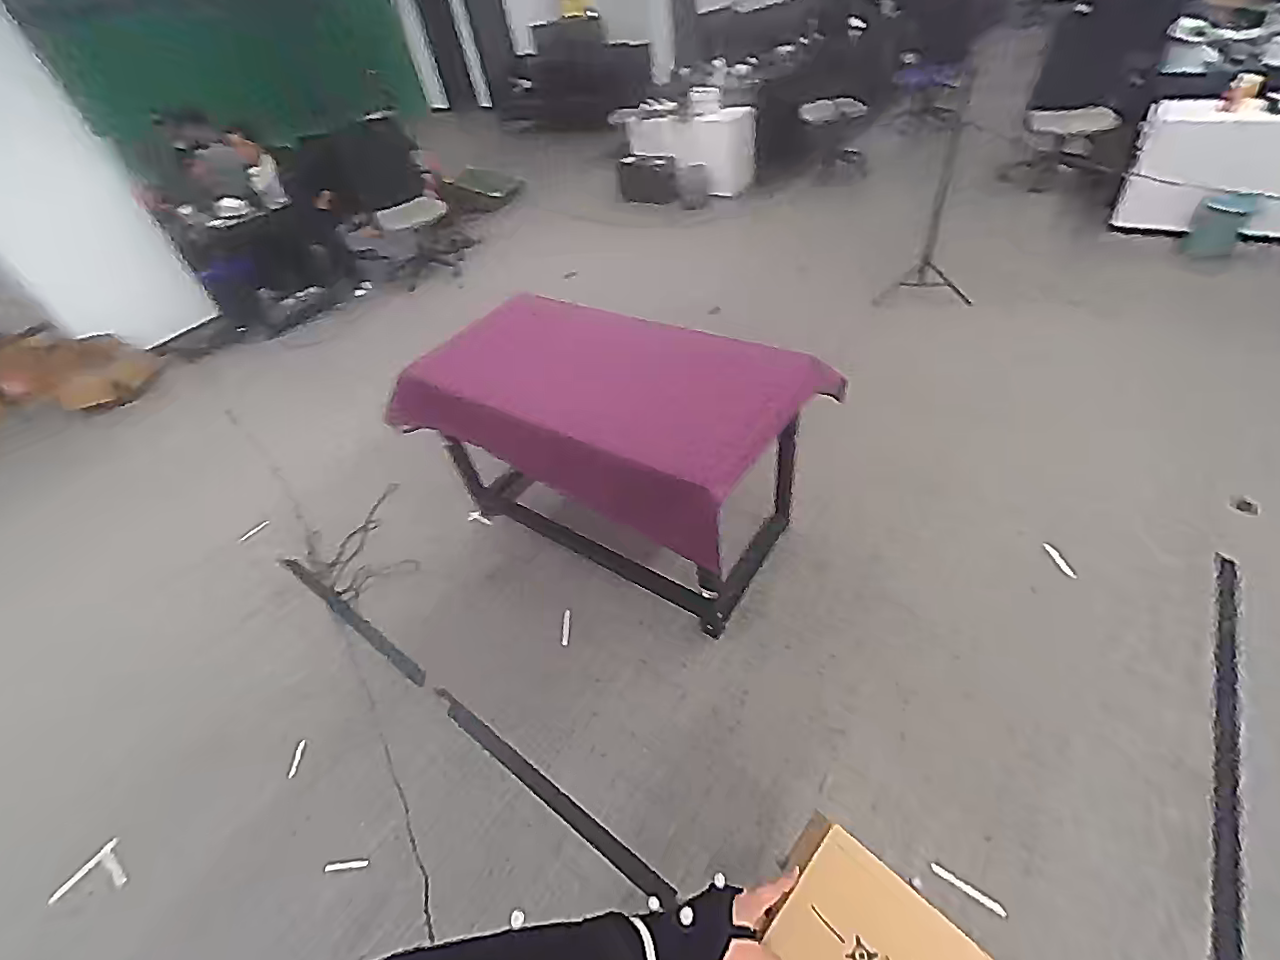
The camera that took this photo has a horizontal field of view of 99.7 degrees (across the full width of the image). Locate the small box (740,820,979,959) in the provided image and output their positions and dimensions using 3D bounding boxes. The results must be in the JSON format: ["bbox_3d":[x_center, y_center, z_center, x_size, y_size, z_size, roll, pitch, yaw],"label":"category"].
[{"bbox_3d":[0.231,0.512,0.601,0.179,0.176,0.168,35,74,25],"label":"small box"}]
